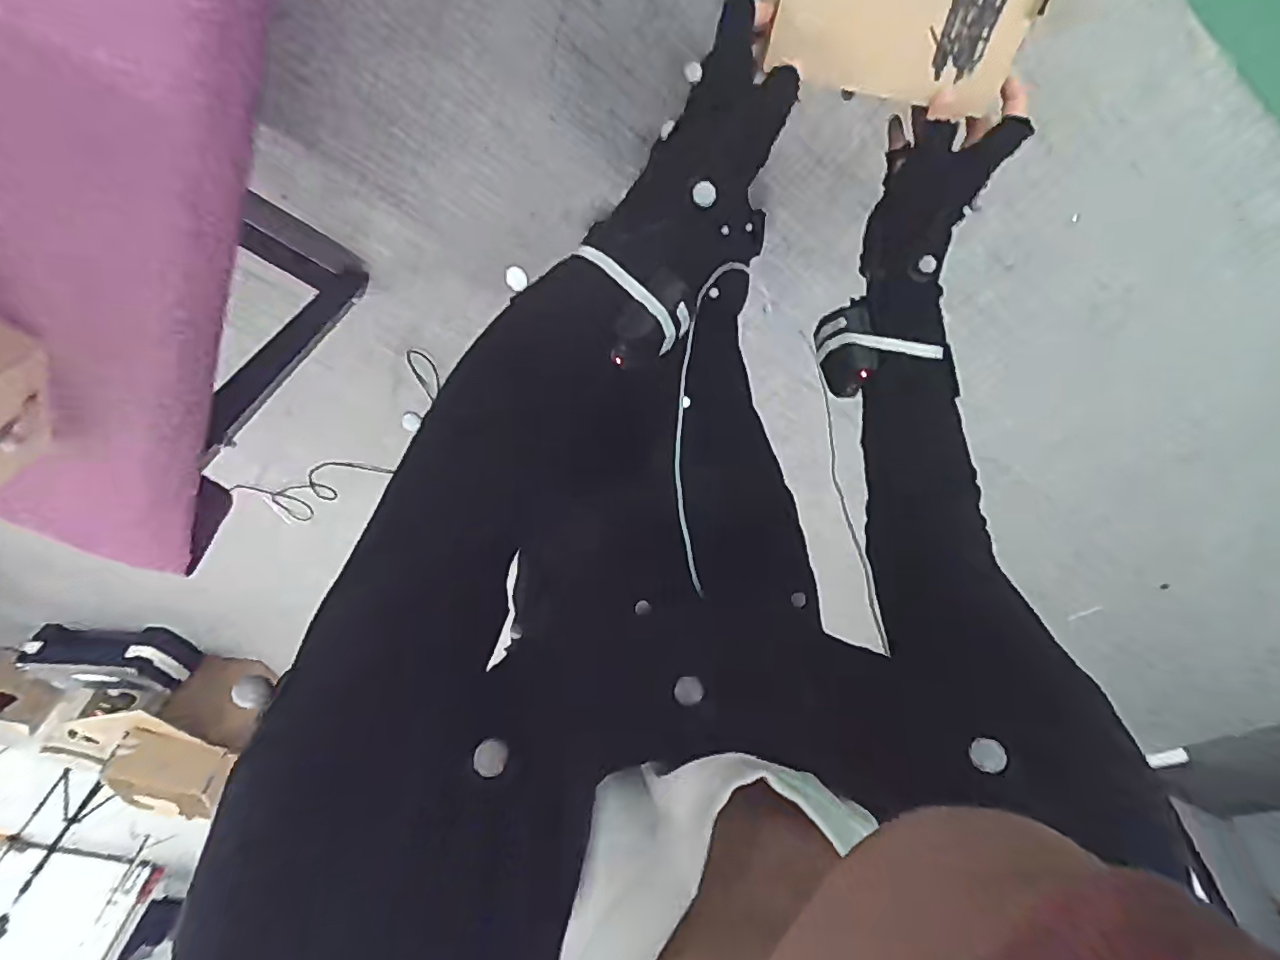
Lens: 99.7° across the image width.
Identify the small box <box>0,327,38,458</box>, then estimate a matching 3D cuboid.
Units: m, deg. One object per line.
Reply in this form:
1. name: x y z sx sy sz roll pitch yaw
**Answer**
1. small box: -0.641 -0.064 0.415 0.179 0.176 0.168 32 129 -25
